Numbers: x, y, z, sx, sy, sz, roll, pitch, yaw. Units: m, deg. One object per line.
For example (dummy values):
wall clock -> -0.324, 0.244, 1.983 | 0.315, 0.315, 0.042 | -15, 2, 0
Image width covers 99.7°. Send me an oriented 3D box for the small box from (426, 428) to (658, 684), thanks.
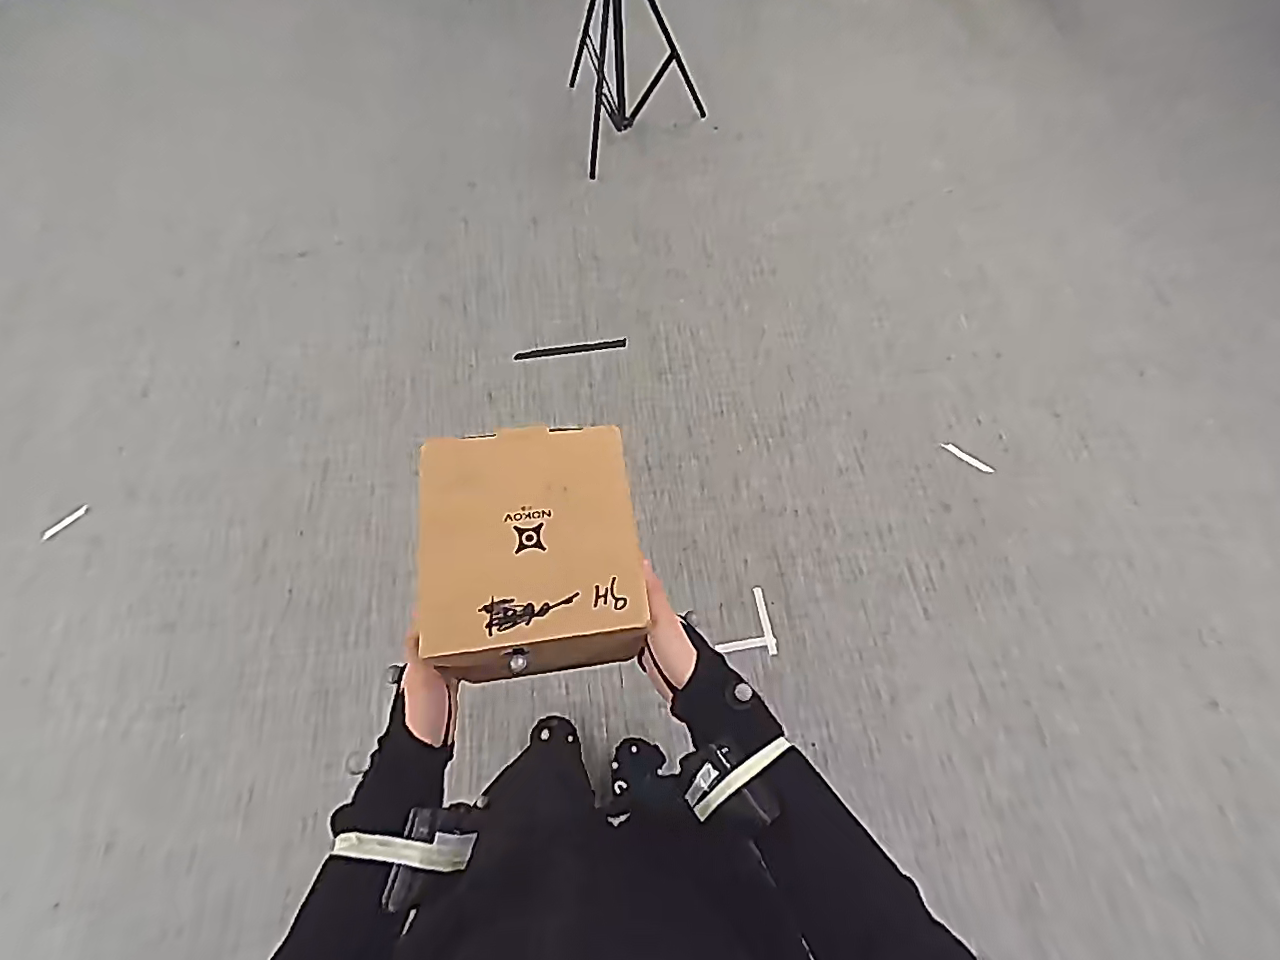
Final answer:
small box -> -0.086, 0.074, 0.490 | 0.168, 0.176, 0.179 | -6, 64, -8
